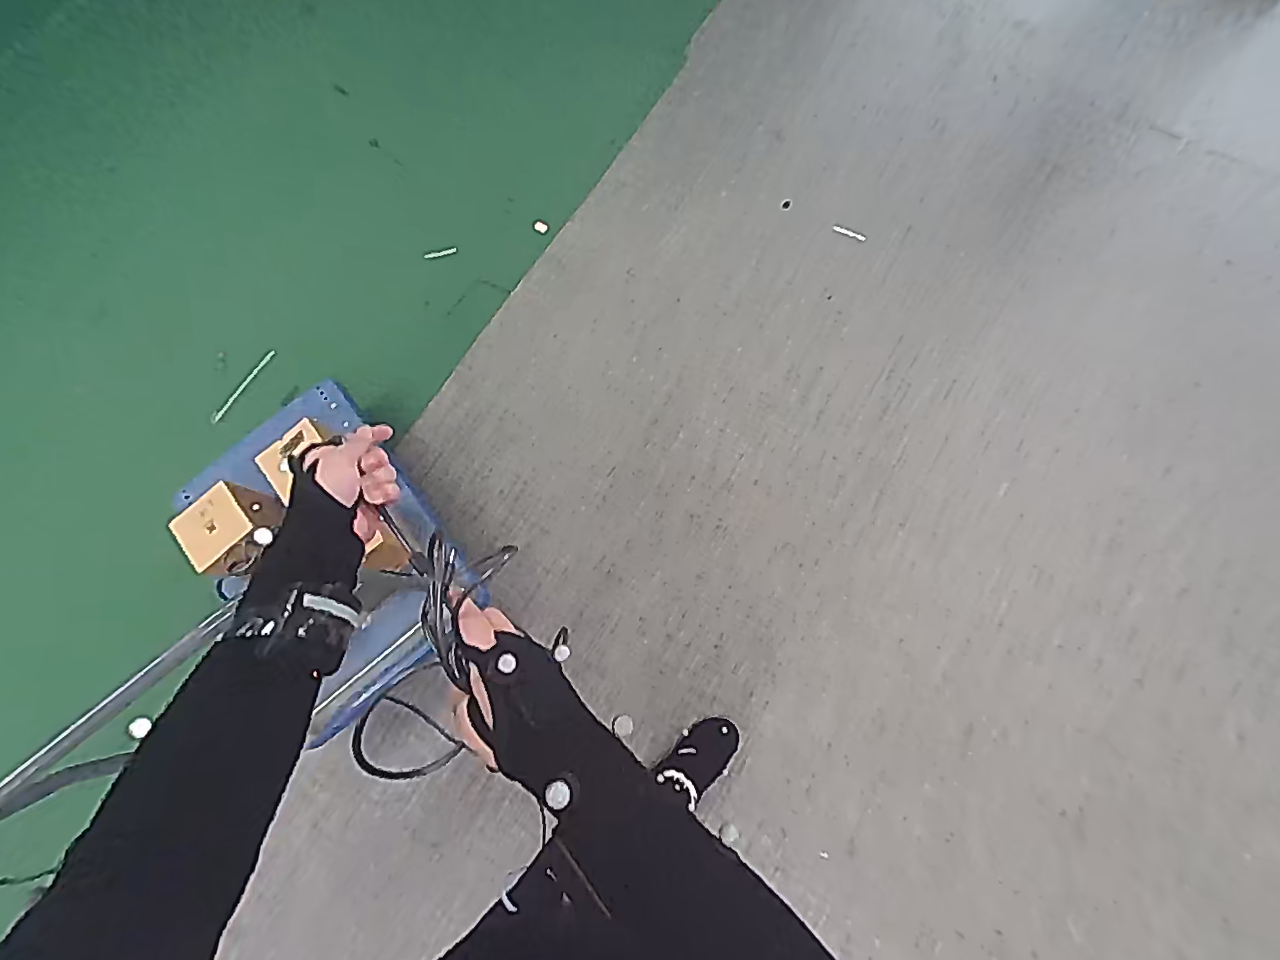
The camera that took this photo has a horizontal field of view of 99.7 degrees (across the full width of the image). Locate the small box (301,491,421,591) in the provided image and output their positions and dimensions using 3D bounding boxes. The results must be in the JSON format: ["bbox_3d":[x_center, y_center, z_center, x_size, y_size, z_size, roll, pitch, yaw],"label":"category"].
[{"bbox_3d":[-0.691,0.159,1.354,0.168,0.176,0.179,-38,73,-4],"label":"small box"}]

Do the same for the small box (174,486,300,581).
[{"bbox_3d":[-1.037,0.146,1.407,0.168,0.176,0.179,-43,72,-6],"label":"small box"}]

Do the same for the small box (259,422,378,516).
[{"bbox_3d":[-0.841,-0.017,1.427,0.168,0.176,0.179,-42,73,-5],"label":"small box"}]
